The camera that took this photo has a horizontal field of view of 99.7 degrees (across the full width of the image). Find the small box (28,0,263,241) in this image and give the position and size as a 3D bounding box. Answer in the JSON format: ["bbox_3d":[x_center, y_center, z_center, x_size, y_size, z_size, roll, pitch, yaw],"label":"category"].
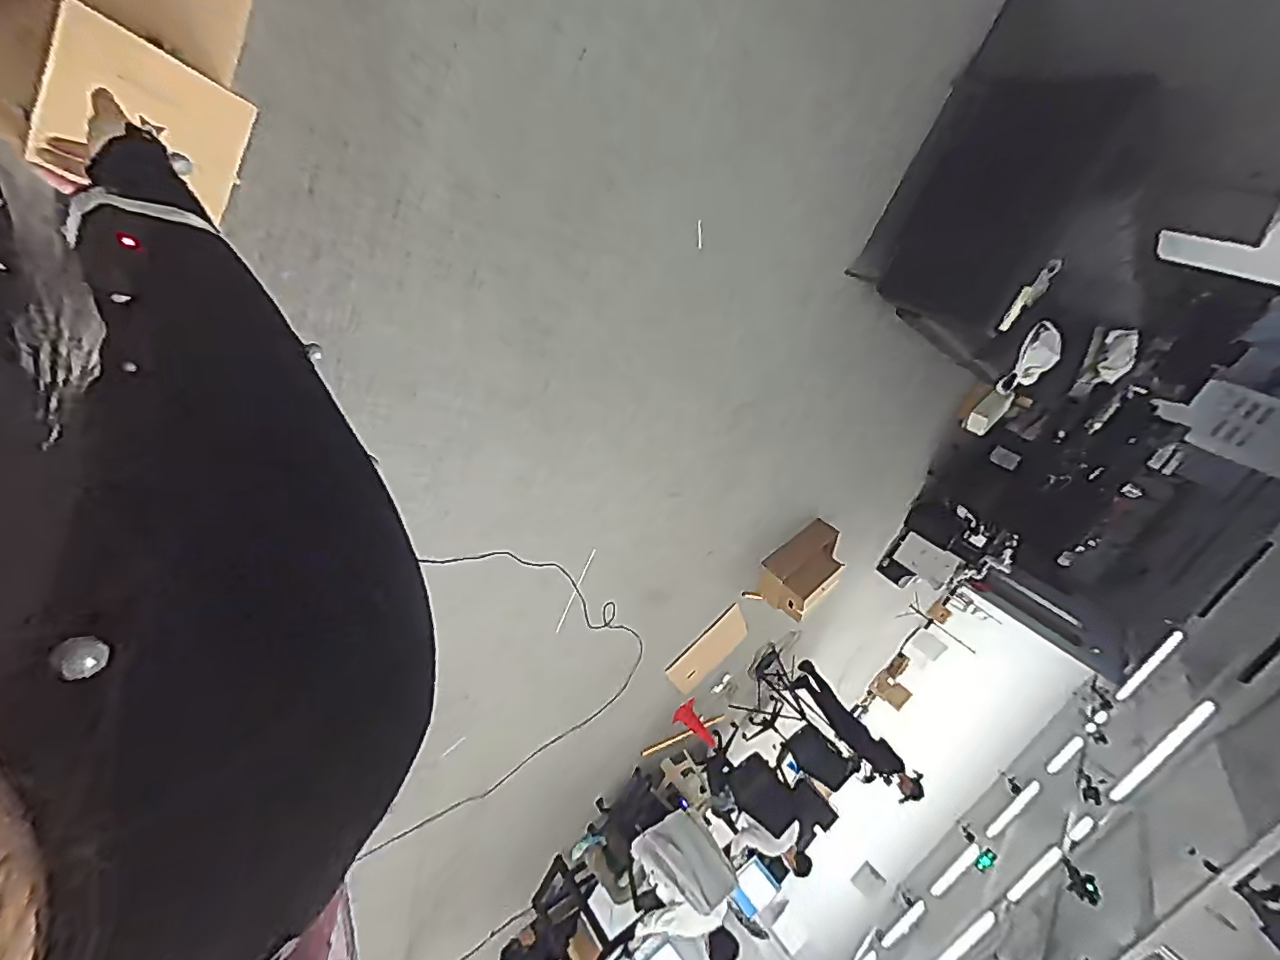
[{"bbox_3d":[-0.593,-0.427,0.650,0.168,0.176,0.179,13,110,-53],"label":"small box"}]
